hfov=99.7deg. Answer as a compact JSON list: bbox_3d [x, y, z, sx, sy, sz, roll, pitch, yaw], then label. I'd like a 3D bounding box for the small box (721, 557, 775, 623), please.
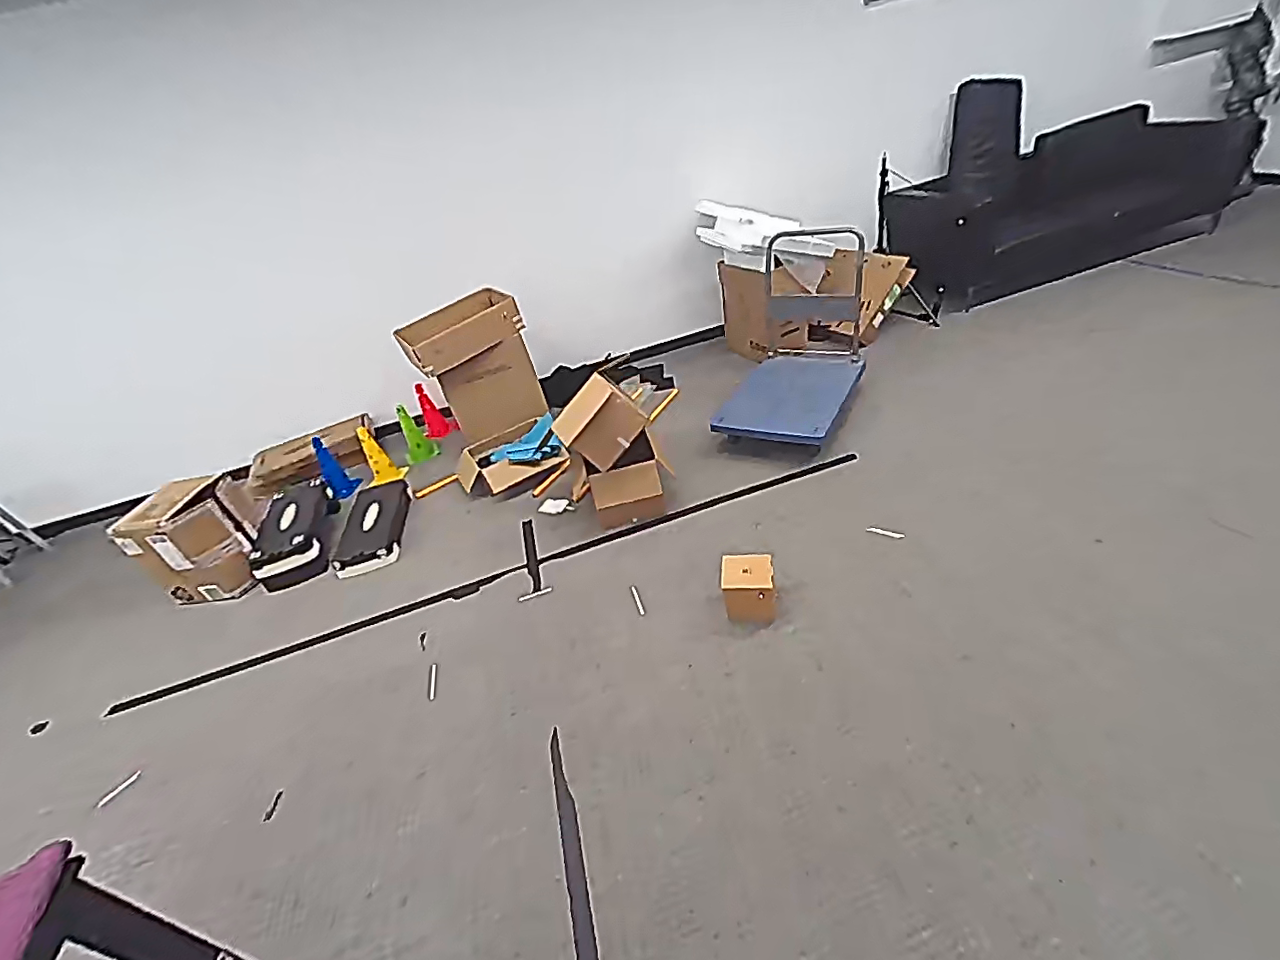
[{"bbox_3d":[0.389,0.396,1.937,0.179,0.176,0.168,-4,34,14],"label":"small box"}]
